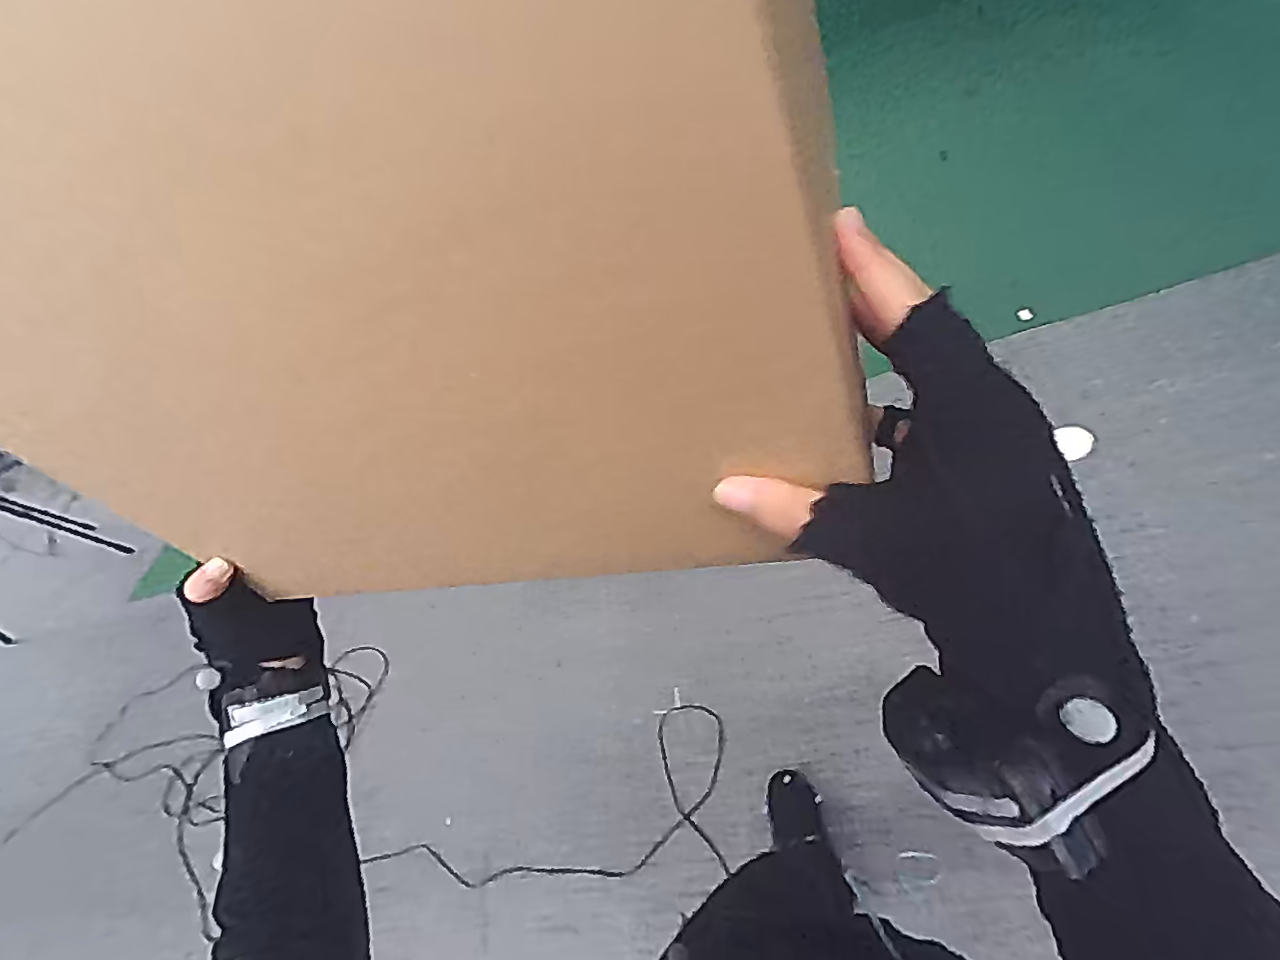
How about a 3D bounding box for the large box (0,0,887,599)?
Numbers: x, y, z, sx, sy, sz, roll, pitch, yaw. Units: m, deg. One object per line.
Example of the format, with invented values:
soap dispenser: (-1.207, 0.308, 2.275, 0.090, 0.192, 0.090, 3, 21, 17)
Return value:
large box: (-0.108, -0.152, 0.305, 0.408, 0.320, 0.320, -9, 46, 24)
